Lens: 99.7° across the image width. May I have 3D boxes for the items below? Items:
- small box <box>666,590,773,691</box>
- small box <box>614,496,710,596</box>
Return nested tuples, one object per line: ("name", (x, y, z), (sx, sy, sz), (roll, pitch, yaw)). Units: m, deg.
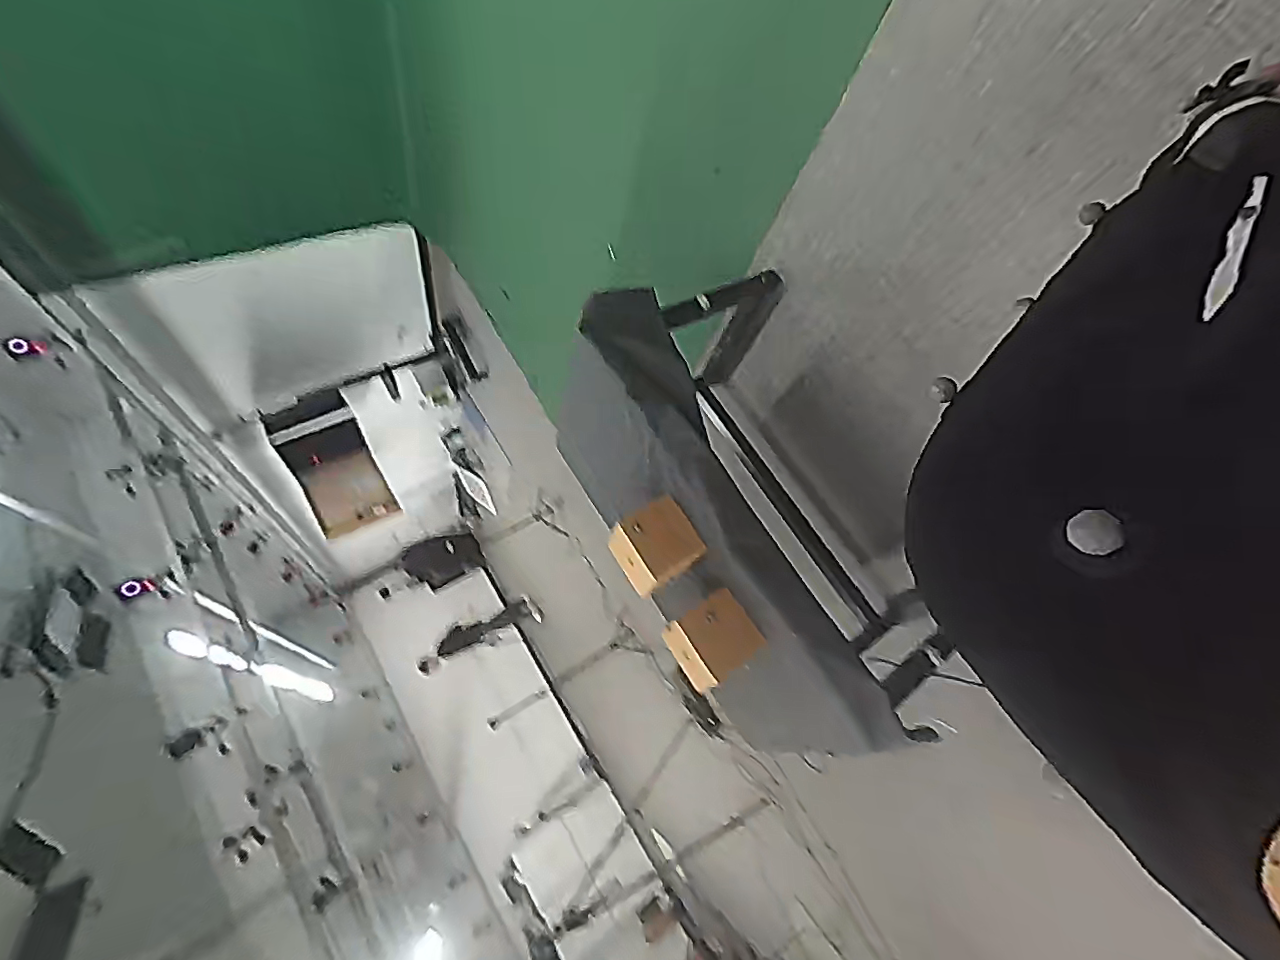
("small box", (0.197, 0.398, 1.357), (0.179, 0.176, 0.168), (54, 155, 18))
("small box", (0.057, 0.172, 1.410), (0.179, 0.176, 0.168), (56, 155, 17))
